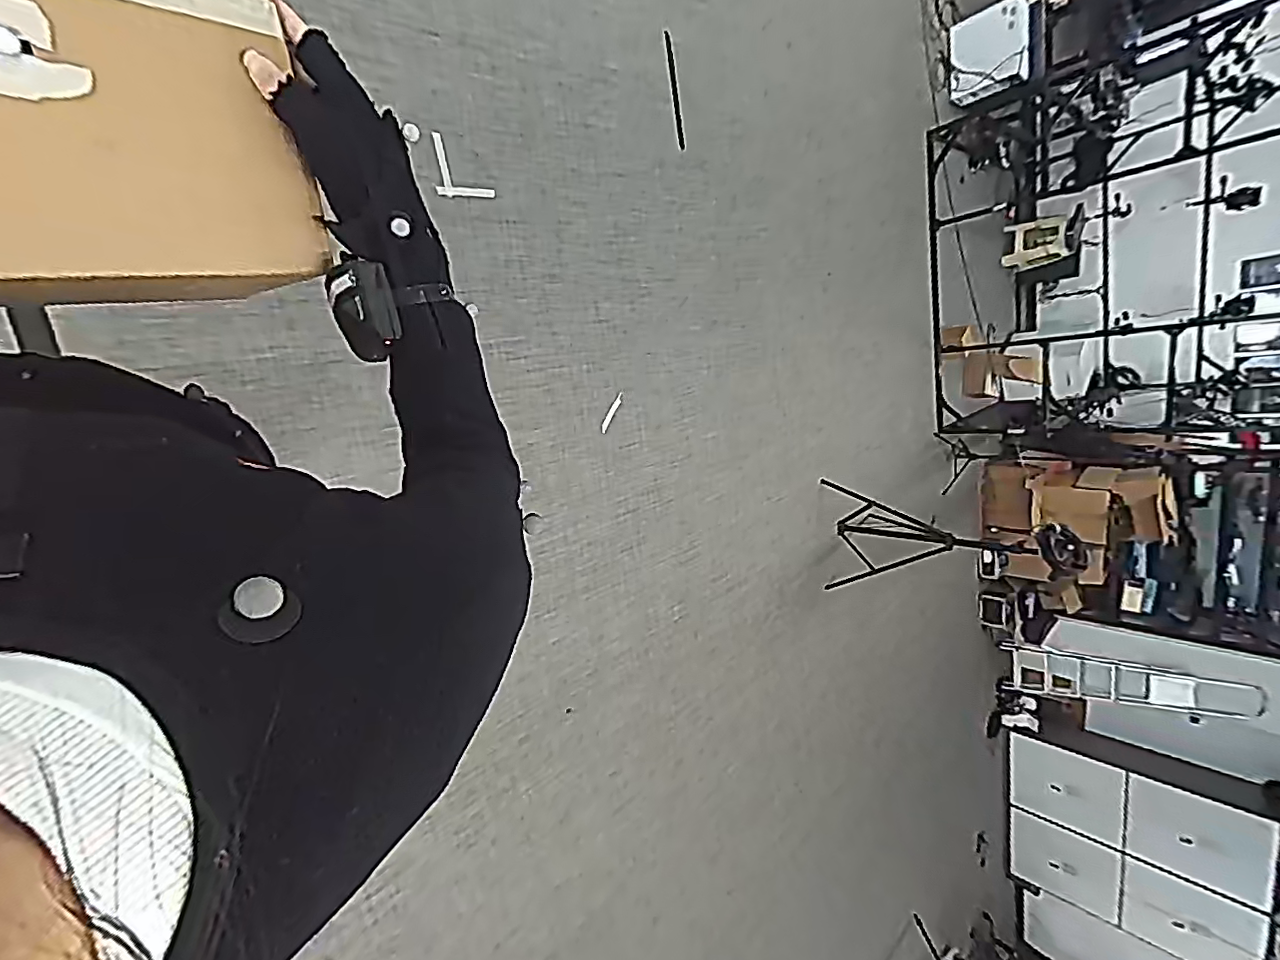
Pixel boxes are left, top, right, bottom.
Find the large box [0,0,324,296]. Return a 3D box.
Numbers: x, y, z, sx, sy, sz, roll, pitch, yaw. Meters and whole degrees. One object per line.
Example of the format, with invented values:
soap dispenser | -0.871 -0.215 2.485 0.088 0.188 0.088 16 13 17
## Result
large box | -0.498 -0.282 0.334 0.408 0.320 0.320 -22 117 -43
